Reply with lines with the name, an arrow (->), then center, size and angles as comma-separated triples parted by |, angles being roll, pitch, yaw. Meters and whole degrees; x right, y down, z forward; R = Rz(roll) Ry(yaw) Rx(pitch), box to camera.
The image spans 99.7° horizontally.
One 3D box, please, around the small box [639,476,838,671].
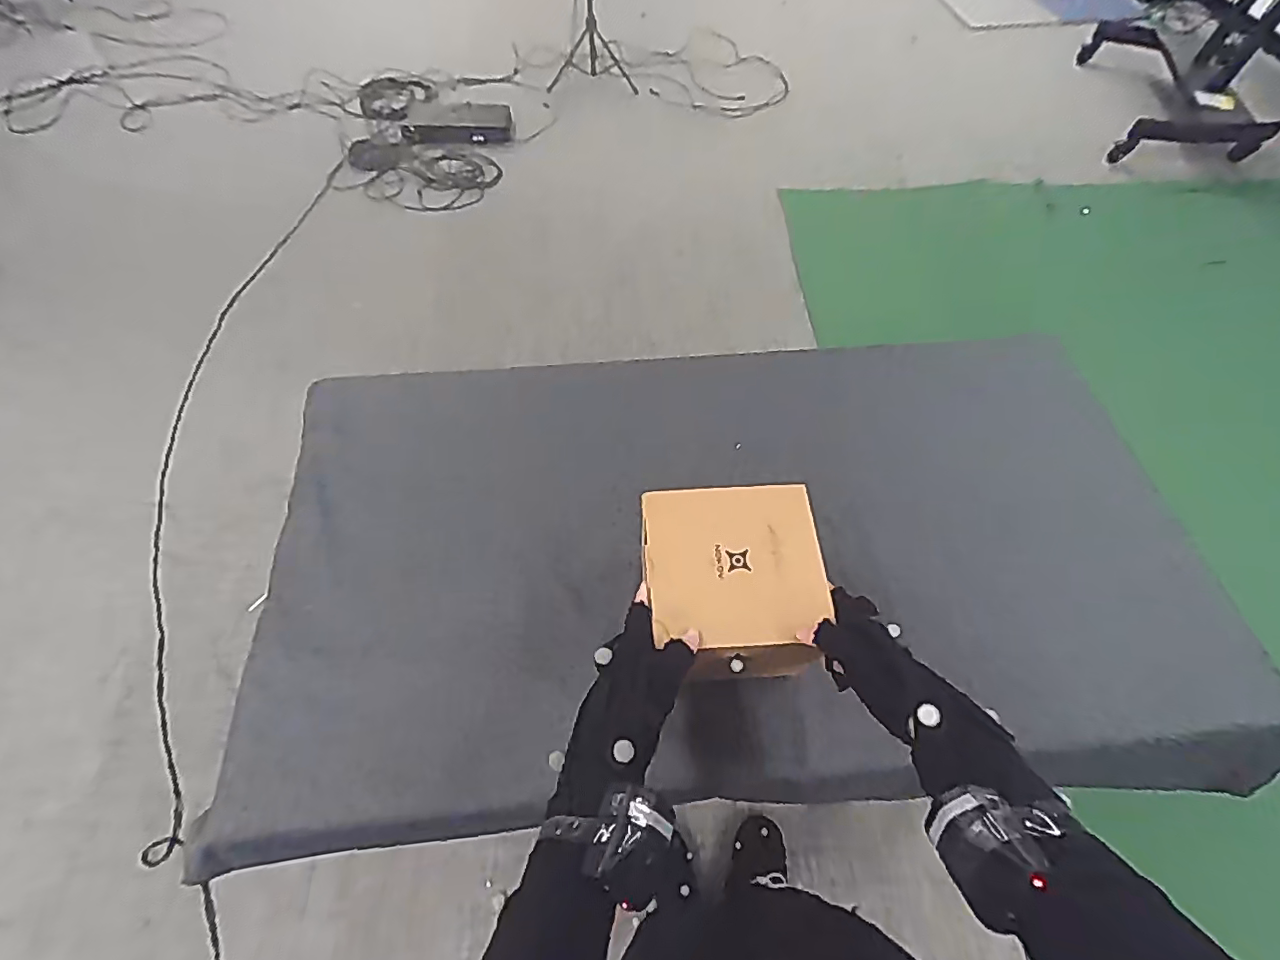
small box -> 0.093, 0.111, 0.605 | 0.179, 0.176, 0.168 | -4, 62, -3
